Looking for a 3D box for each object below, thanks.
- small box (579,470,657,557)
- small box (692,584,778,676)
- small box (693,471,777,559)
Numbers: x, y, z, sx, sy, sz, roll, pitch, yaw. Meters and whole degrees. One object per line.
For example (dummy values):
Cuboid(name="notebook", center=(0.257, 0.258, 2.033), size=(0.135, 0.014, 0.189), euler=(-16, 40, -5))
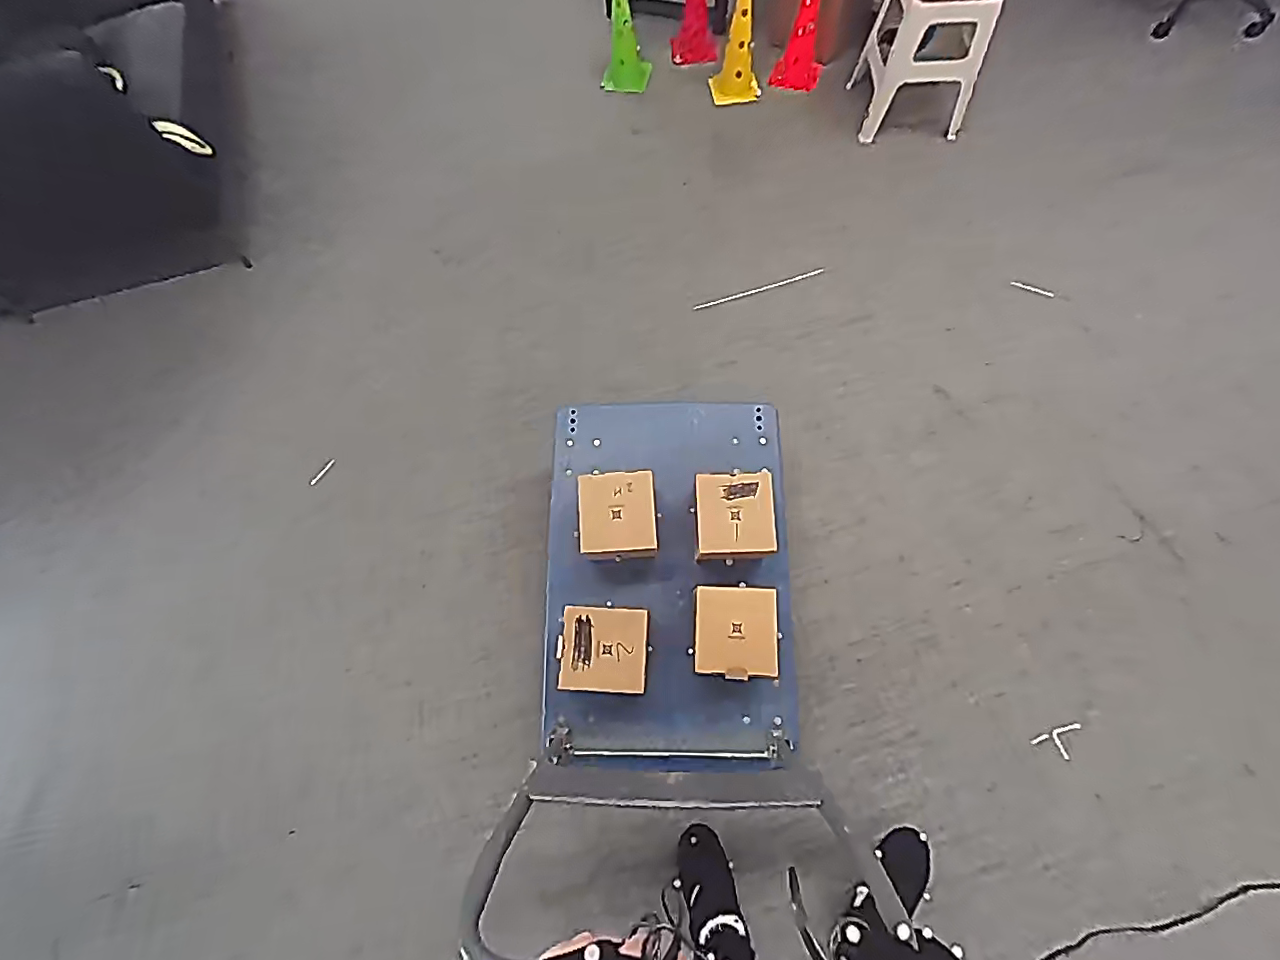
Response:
Cuboid(name="small box", center=(-0.046, 0.084, 1.246), size=(0.168, 0.176, 0.179), euler=(-3, 76, 1))
Cuboid(name="small box", center=(0.201, 0.322, 1.178), size=(0.168, 0.176, 0.179), euler=(2, 77, 3))
Cuboid(name="small box", center=(0.210, 0.084, 1.234), size=(0.168, 0.176, 0.179), euler=(-2, 77, 3))
